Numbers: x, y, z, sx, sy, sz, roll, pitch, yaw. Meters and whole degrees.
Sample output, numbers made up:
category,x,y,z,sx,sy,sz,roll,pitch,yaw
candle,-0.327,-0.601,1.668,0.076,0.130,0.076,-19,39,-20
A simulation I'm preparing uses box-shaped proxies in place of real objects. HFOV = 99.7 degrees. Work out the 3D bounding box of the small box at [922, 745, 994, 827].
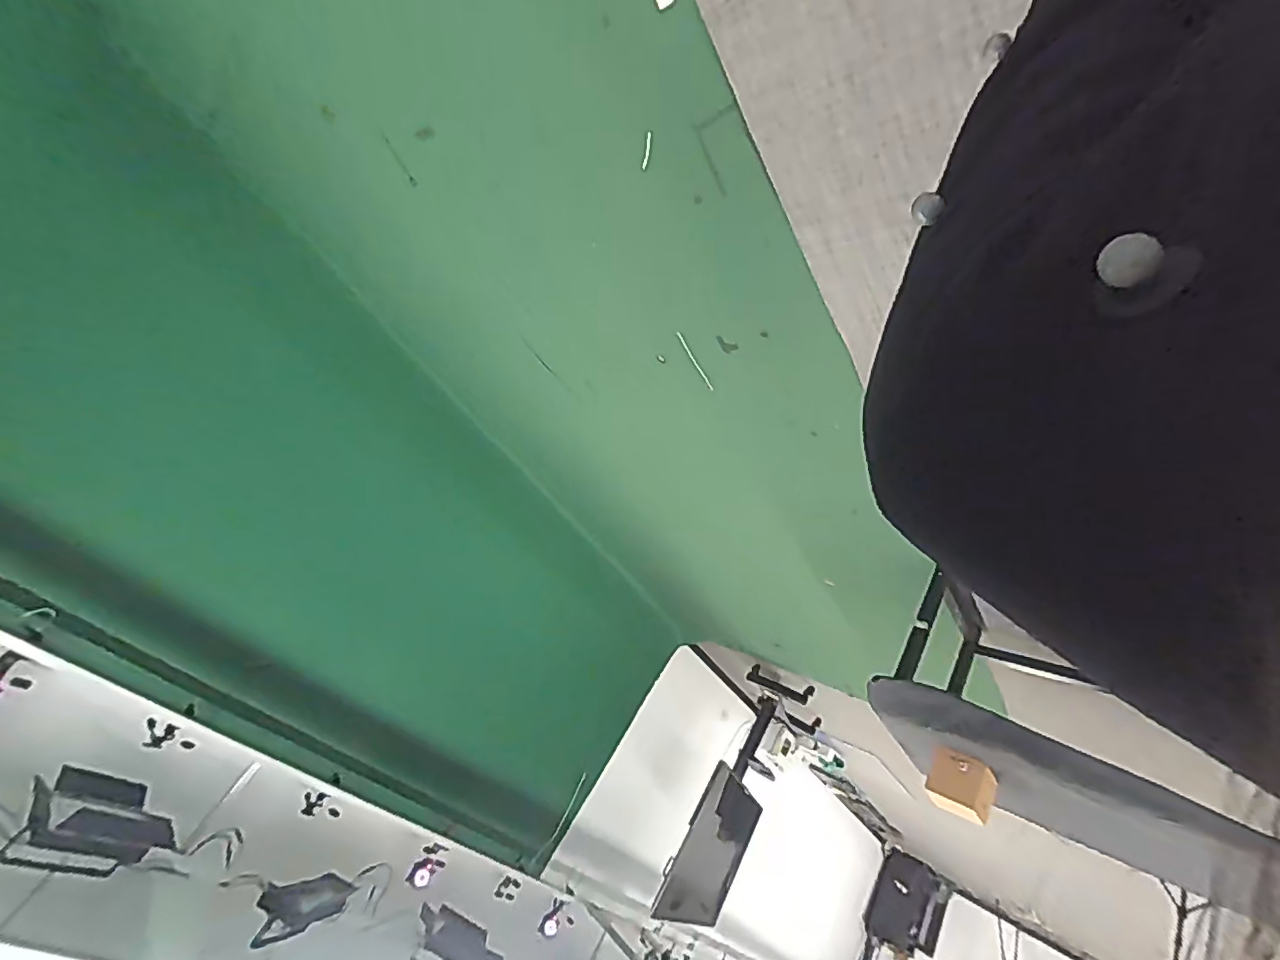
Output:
category,x,y,z,sx,sy,sz,roll,pitch,yaw
small box,1.140,1.088,1.930,0.168,0.176,0.179,2,139,49
